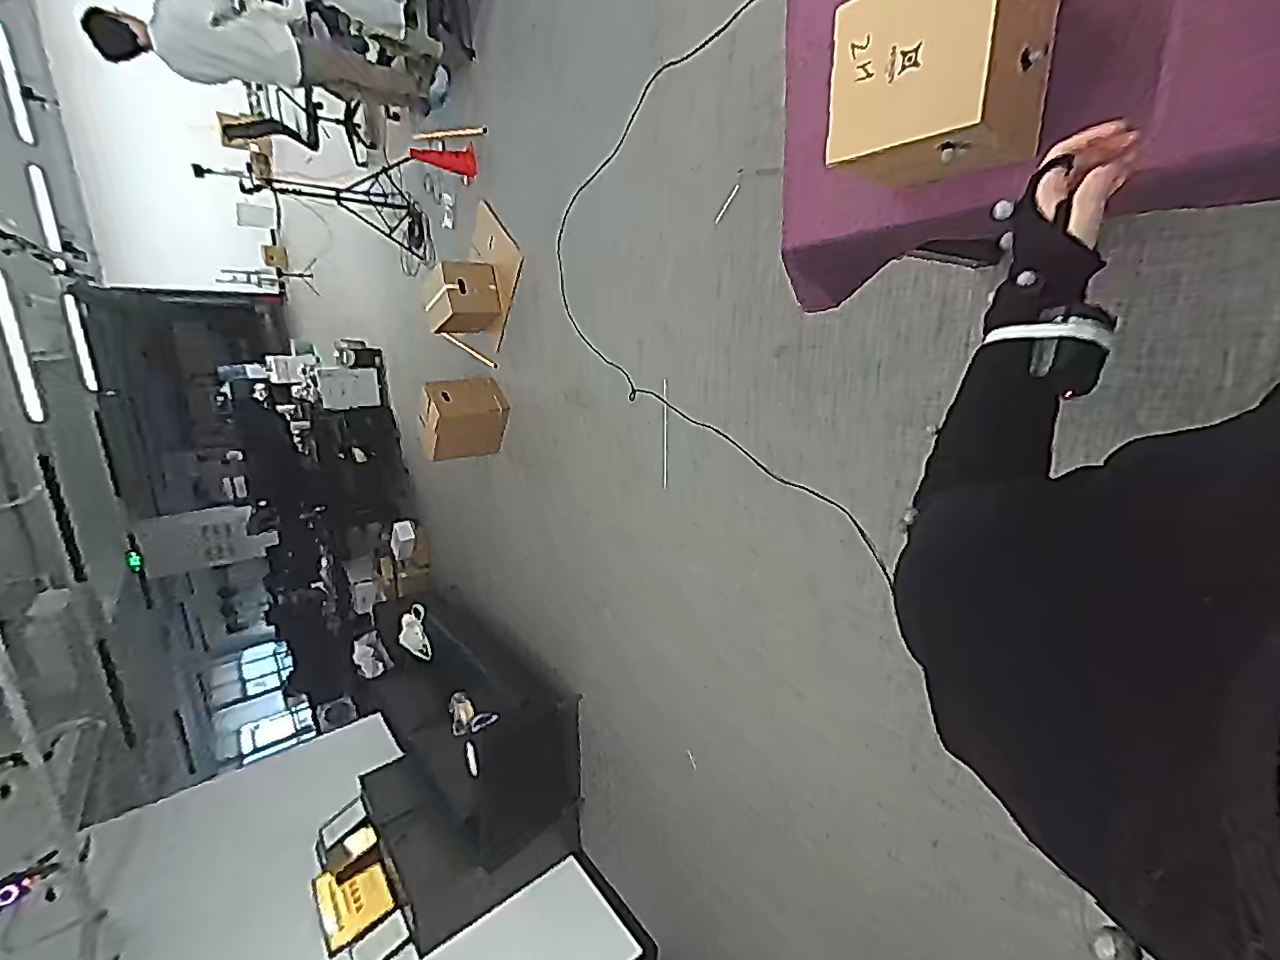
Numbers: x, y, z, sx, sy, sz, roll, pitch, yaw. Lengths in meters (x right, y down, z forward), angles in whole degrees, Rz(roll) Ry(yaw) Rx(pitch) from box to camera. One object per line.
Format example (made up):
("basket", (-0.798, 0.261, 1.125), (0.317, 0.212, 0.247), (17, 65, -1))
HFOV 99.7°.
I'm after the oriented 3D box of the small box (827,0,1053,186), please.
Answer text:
("small box", (0.348, -0.462, 0.633), (0.179, 0.176, 0.168), (18, 112, 49))
